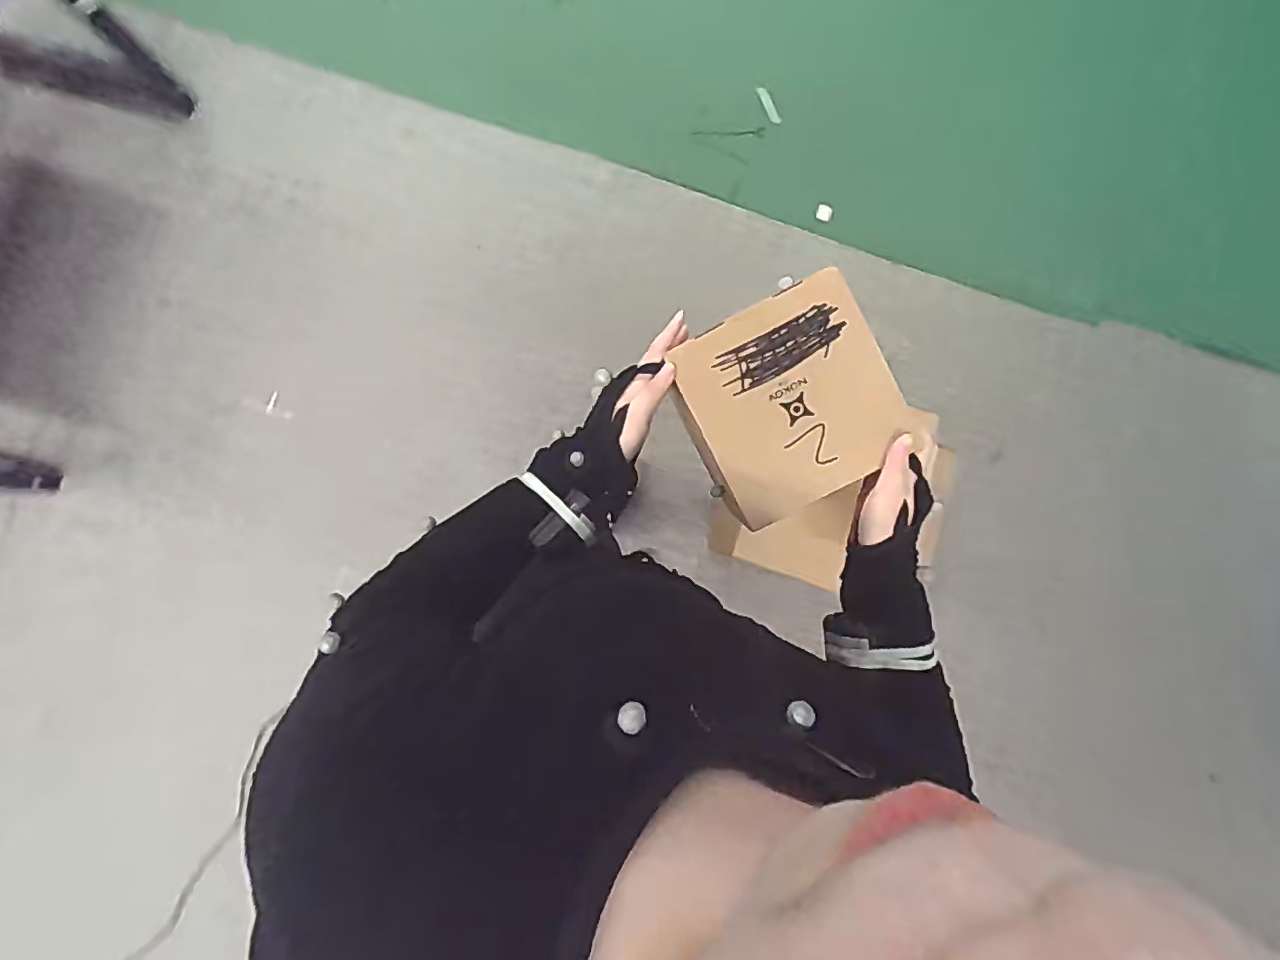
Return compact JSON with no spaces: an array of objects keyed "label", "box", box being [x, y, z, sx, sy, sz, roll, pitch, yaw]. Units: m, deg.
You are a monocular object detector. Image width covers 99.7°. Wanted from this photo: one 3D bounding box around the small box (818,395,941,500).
[{"label":"small box","box":[0.507,-0.062,1.170,0.168,0.176,0.179,17,84,-4]}]
